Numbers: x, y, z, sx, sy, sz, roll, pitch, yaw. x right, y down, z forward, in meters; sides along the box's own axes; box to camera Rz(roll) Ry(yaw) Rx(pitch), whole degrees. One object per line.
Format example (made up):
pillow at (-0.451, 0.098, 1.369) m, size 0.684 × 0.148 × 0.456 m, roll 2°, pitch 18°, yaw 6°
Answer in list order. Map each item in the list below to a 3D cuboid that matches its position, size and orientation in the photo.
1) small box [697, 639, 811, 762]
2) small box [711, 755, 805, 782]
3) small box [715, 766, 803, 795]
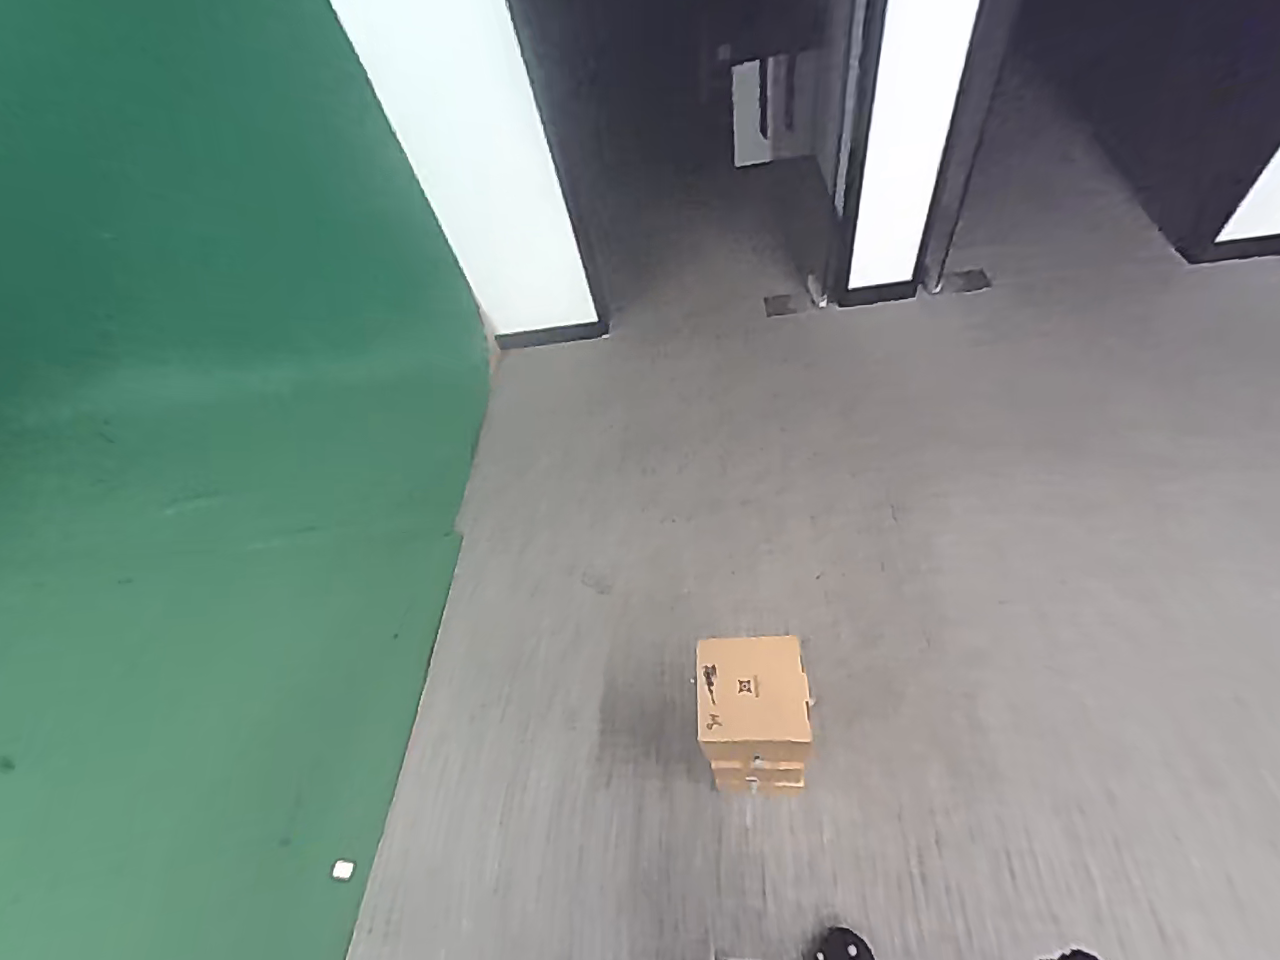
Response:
small box at (0.195, 0.385, 0.941) m, size 0.179 × 0.176 × 0.168 m, roll -4°, pitch 53°, yaw 12°
small box at (0.229, 0.485, 1.066) m, size 0.168 × 0.176 × 0.179 m, roll -5°, pitch 54°, yaw 12°
small box at (0.261, 0.586, 1.188) m, size 0.179 × 0.176 × 0.168 m, roll -2°, pitch 54°, yaw 11°
